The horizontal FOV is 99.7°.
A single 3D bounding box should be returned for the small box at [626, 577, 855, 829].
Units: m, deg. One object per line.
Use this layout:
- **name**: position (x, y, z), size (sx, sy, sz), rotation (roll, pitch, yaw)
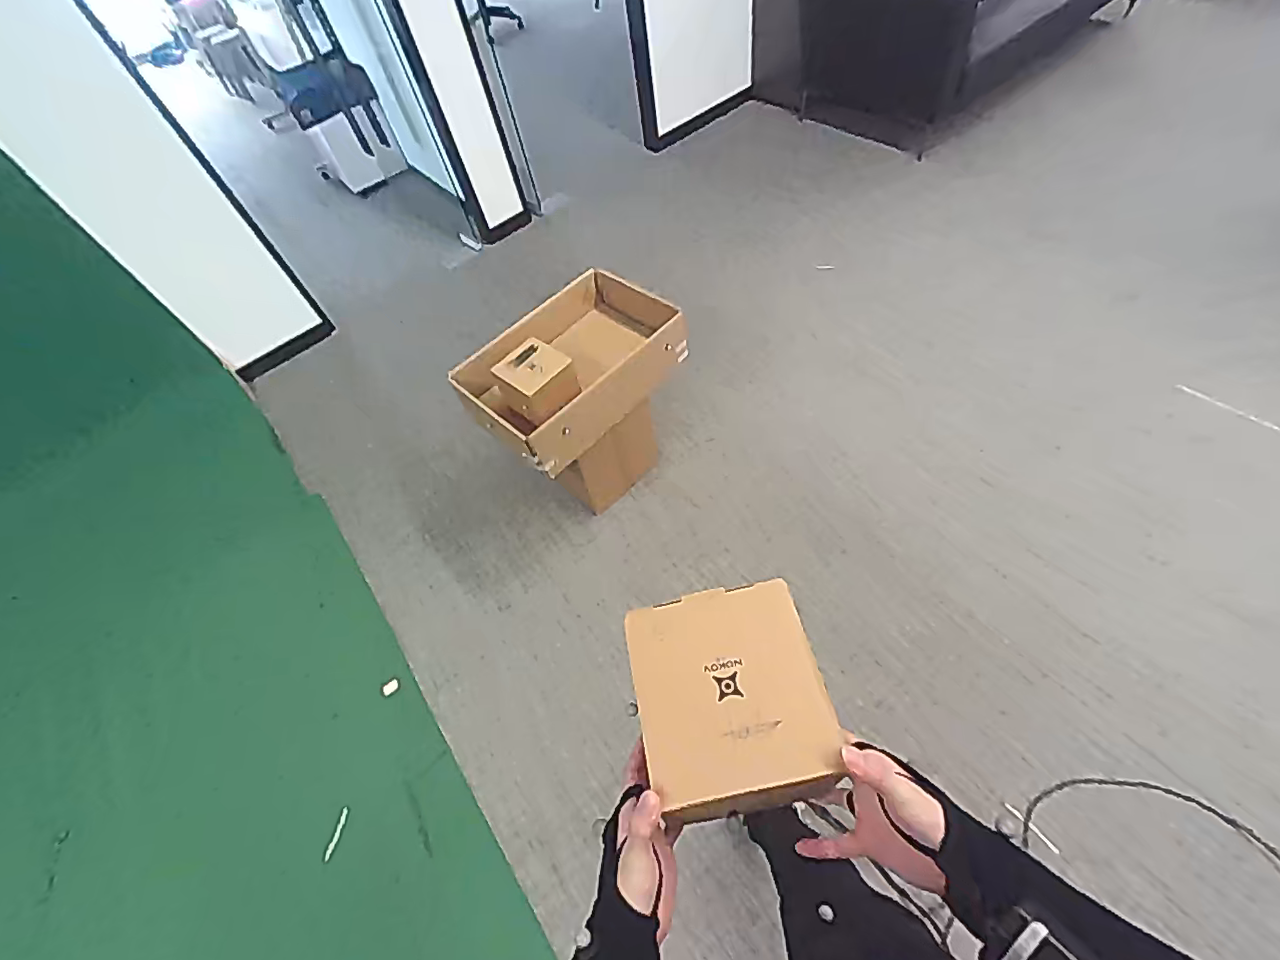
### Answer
- **small box**: position (0.085, 0.224, 0.537), size (0.168, 0.176, 0.179), rotation (-11, 52, 0)
